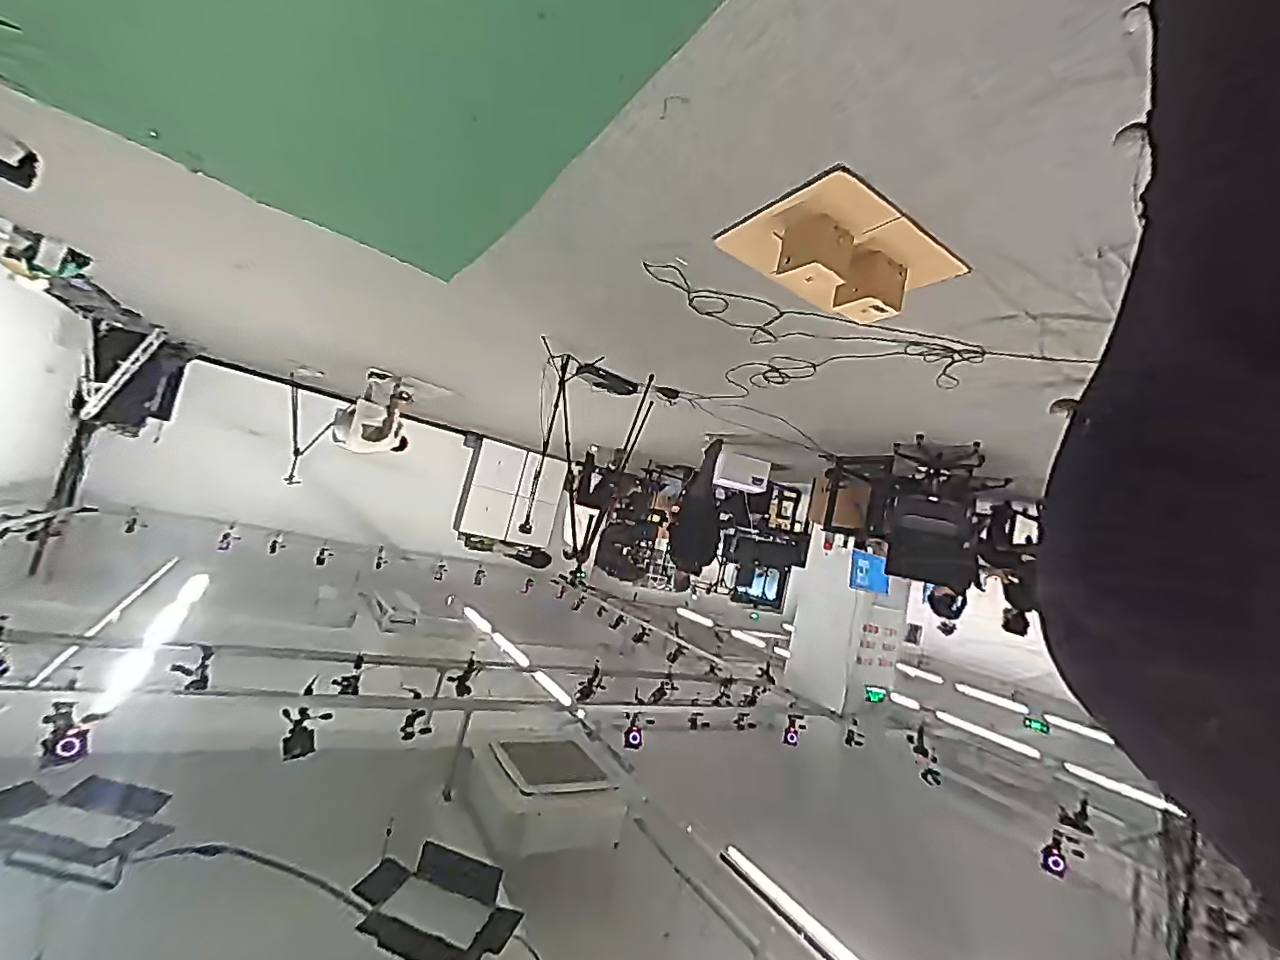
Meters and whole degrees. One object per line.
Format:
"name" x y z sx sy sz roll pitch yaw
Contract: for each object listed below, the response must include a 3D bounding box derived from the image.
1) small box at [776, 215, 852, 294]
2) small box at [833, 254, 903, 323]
"small box" 0.599 -0.770 1.857 0.168 0.176 0.179 15 173 -34
"small box" 0.840 -0.700 1.981 0.168 0.176 0.179 15 174 -28
